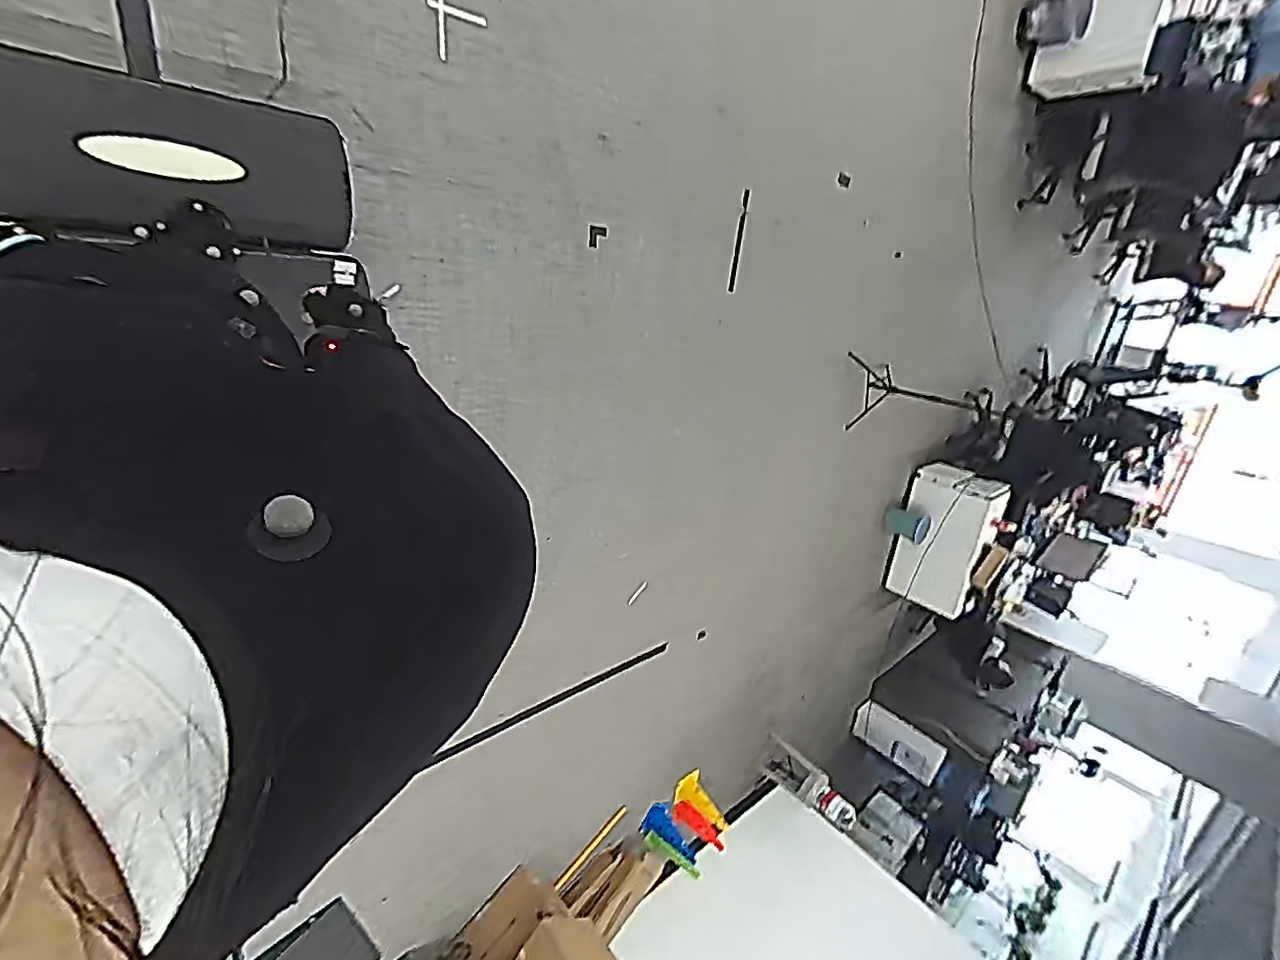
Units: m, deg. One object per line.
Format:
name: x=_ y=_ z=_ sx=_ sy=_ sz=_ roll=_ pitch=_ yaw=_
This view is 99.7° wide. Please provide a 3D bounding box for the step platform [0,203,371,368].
step platform: x=-0.959 y=-0.402 z=1.162 sx=0.684 sy=0.204 sz=0.286 roll=-13 pitch=116 yaw=-38
